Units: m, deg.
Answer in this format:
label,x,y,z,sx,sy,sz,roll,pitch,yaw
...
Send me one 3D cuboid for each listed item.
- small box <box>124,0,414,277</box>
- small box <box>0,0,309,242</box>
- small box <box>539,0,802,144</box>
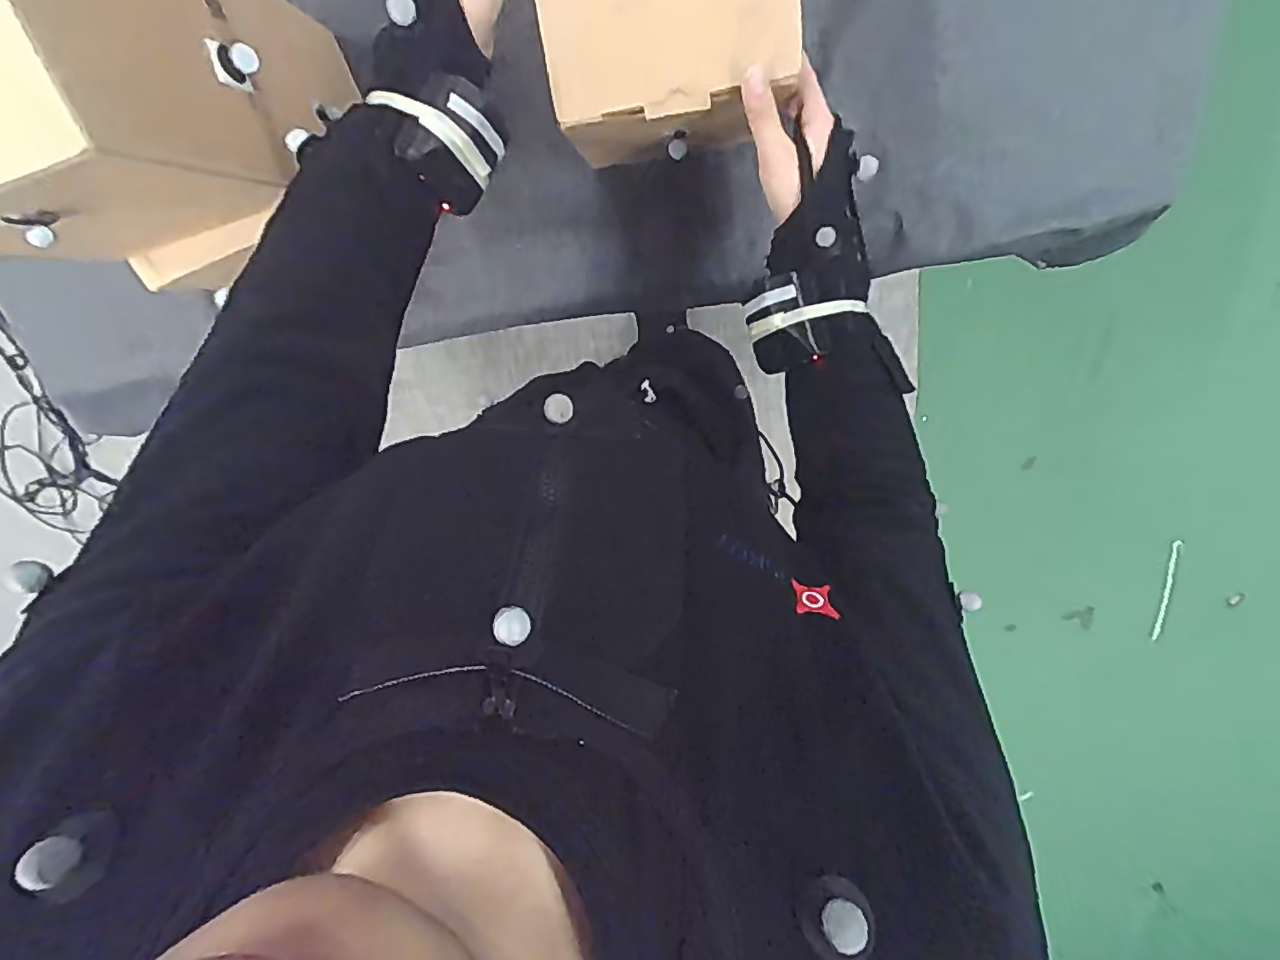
label,x,y,z,sx,sy,sz,roll,pitch,yaw
small box,-0.328,-0.285,0.452,0.168,0.176,0.179,-17,111,10
small box,-0.336,-0.237,0.296,0.179,0.176,0.168,-14,112,8
small box,0.018,-0.366,0.399,0.168,0.176,0.179,-7,113,7
